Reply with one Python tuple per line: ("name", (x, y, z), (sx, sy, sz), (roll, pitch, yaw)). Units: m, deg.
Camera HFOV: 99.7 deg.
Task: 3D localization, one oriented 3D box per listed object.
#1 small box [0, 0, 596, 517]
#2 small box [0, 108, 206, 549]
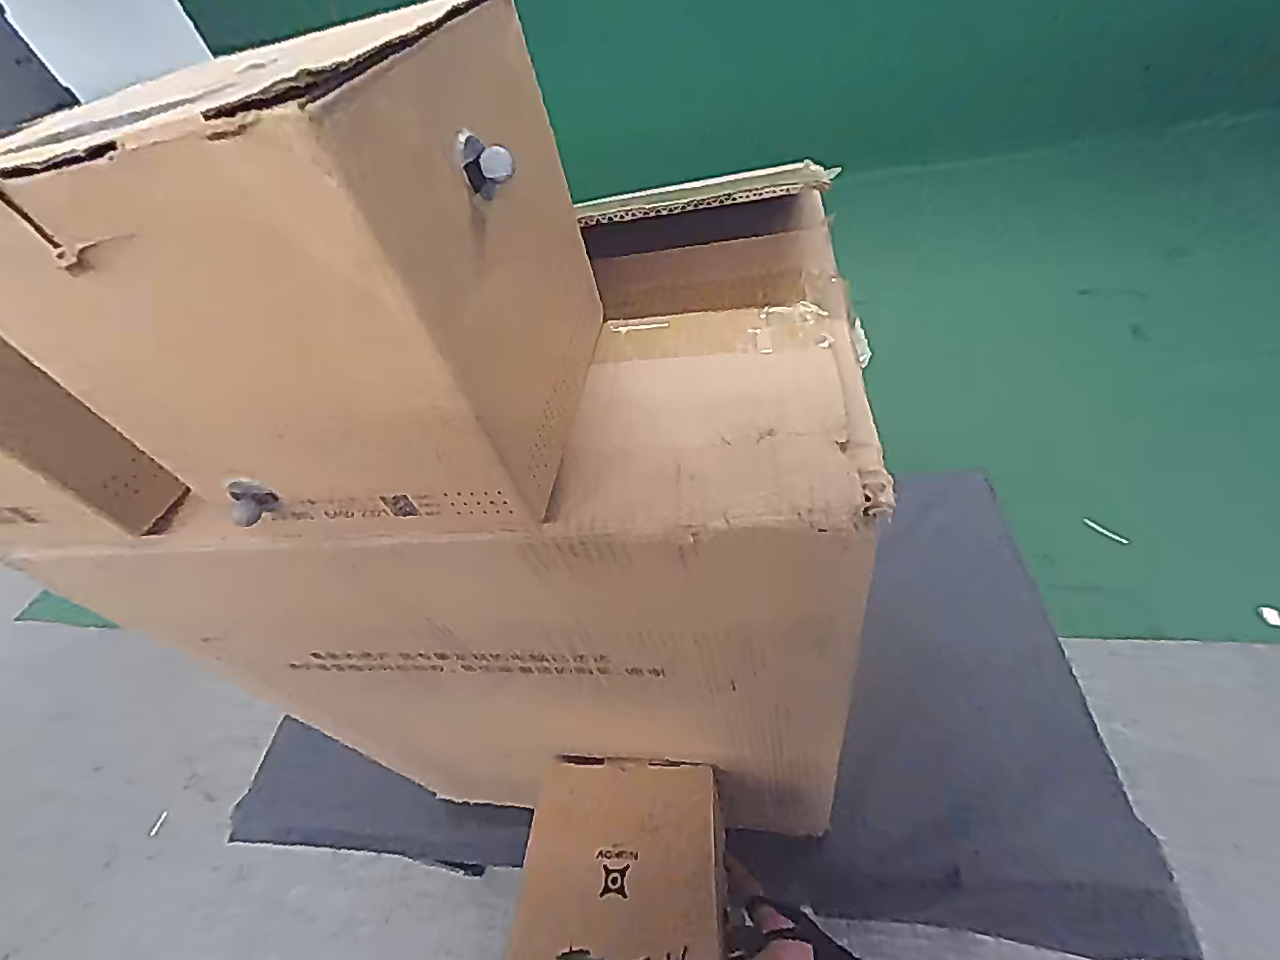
("small box", (-0.127, -0.093, 0.259), (0.168, 0.176, 0.179), (-3, 47, 12))
("small box", (-0.352, -0.078, 0.314), (0.168, 0.176, 0.179), (-4, 49, 16))
